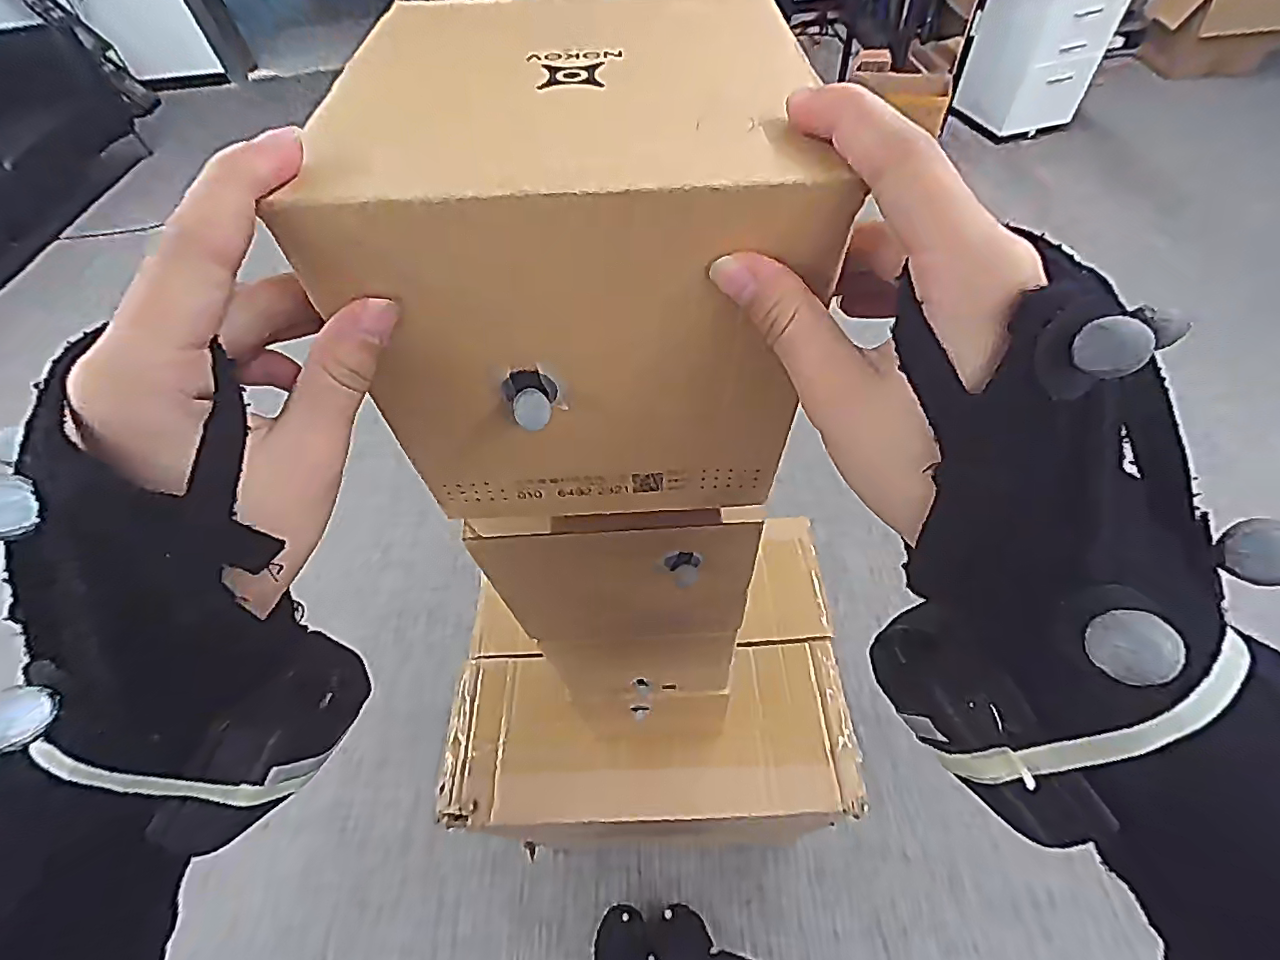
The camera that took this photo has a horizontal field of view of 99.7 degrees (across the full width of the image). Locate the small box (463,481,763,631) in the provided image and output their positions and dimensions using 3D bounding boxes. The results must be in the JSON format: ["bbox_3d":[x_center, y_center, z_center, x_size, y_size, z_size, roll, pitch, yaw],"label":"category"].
[{"bbox_3d":[-0.012,0.008,0.418,0.179,0.176,0.168,-4,54,3],"label":"small box"}]

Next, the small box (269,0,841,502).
[{"bbox_3d":[-0.024,-0.100,0.262,0.168,0.176,0.179,-3,54,0],"label":"small box"}]

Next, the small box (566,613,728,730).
[{"bbox_3d":[0.013,0.208,0.679,0.179,0.176,0.168,-3,54,3],"label":"small box"}]
